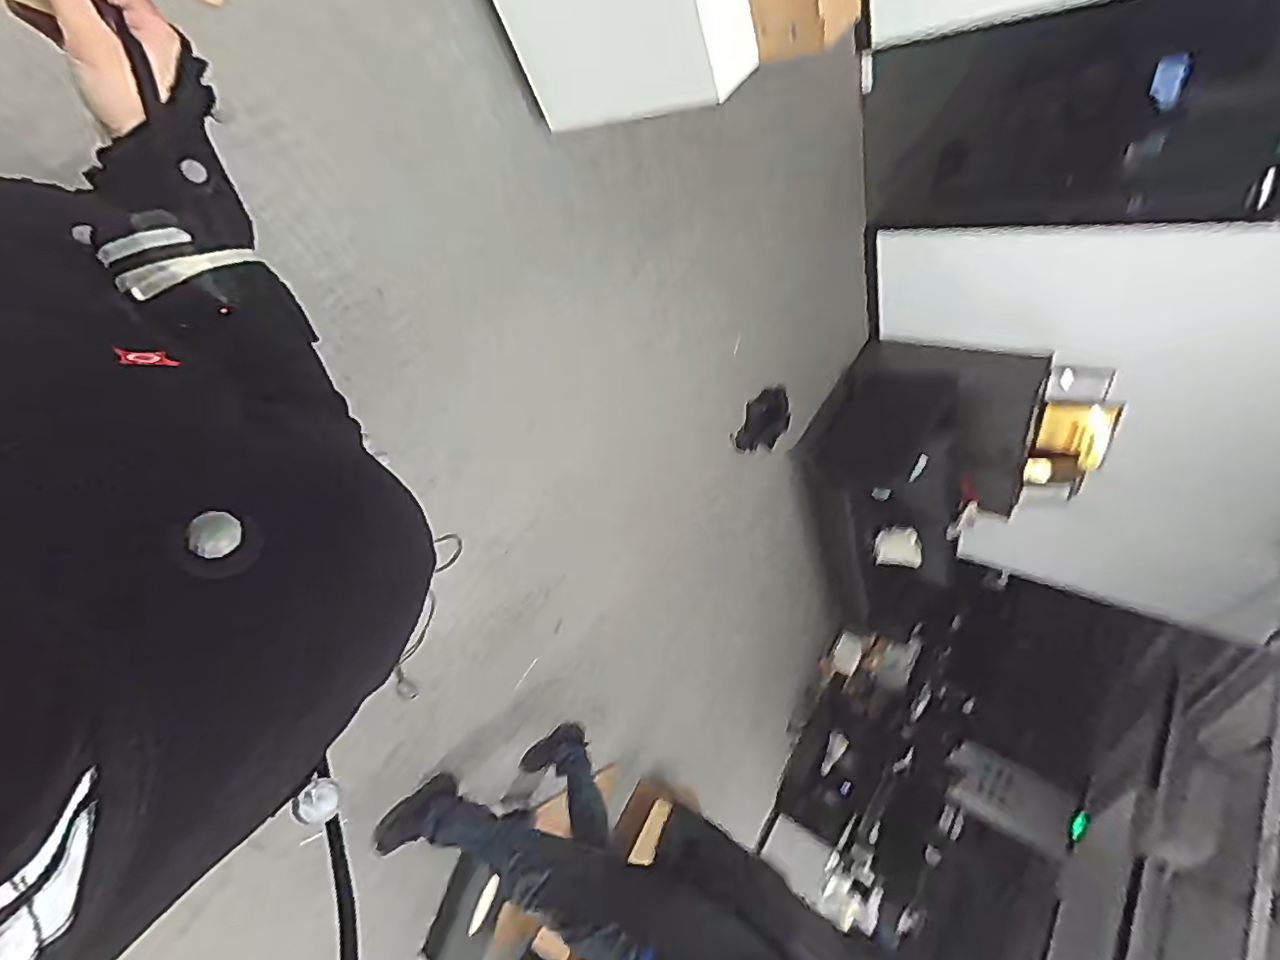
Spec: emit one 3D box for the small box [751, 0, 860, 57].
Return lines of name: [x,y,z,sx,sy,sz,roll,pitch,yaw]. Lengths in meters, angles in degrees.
small box: [0.350,-1.049,1.159,0.179,0.176,0.168,-55,141,-21]
